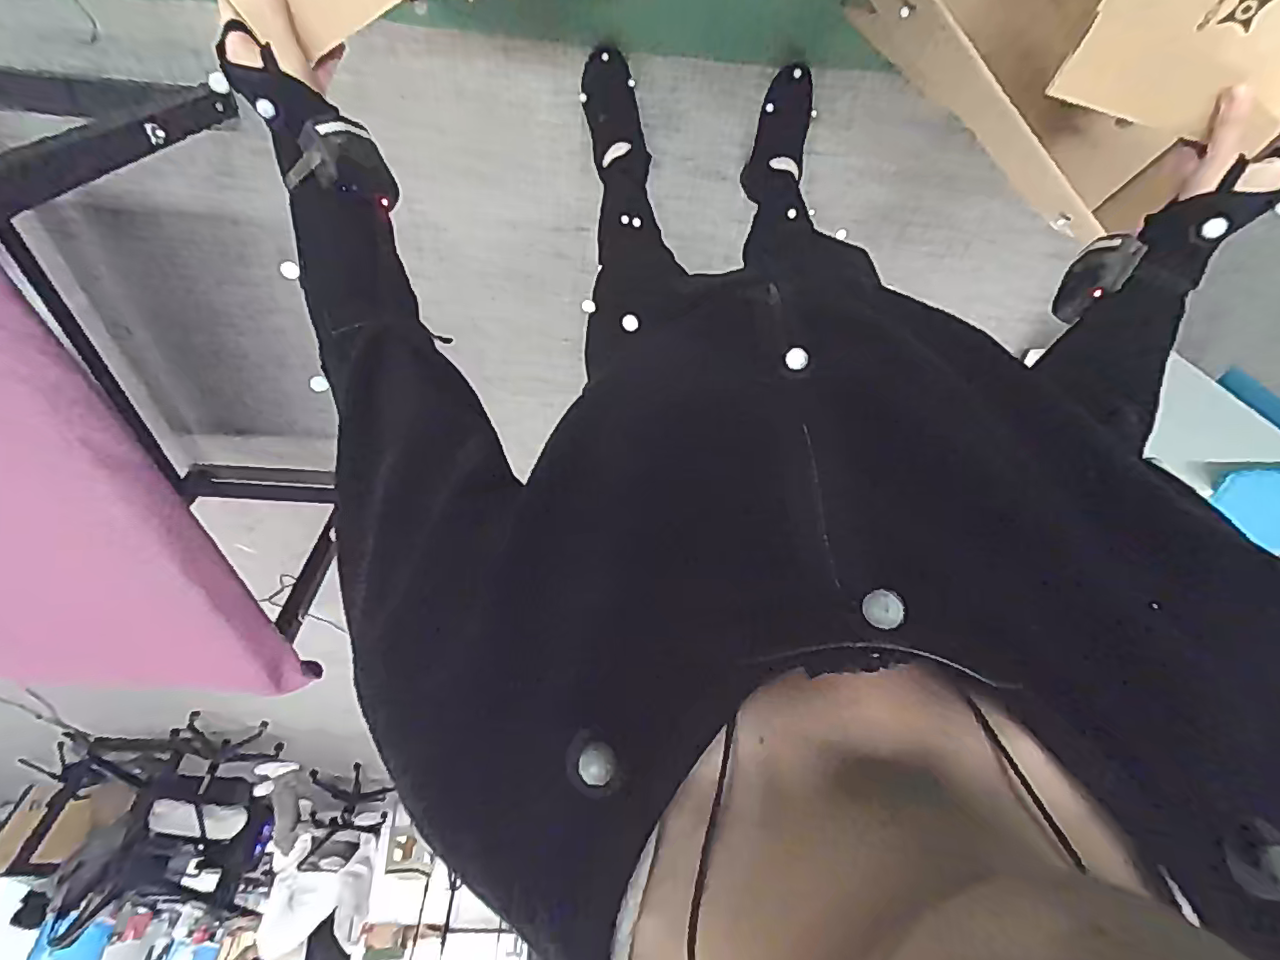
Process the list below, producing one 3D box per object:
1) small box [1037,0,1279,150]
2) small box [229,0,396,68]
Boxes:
[{"bbox_3d":[0.478,-0.413,0.442,0.179,0.176,0.168,29,149,13],"label":"small box"},{"bbox_3d":[-0.282,-0.498,0.457,0.179,0.176,0.168,-23,136,10],"label":"small box"}]
